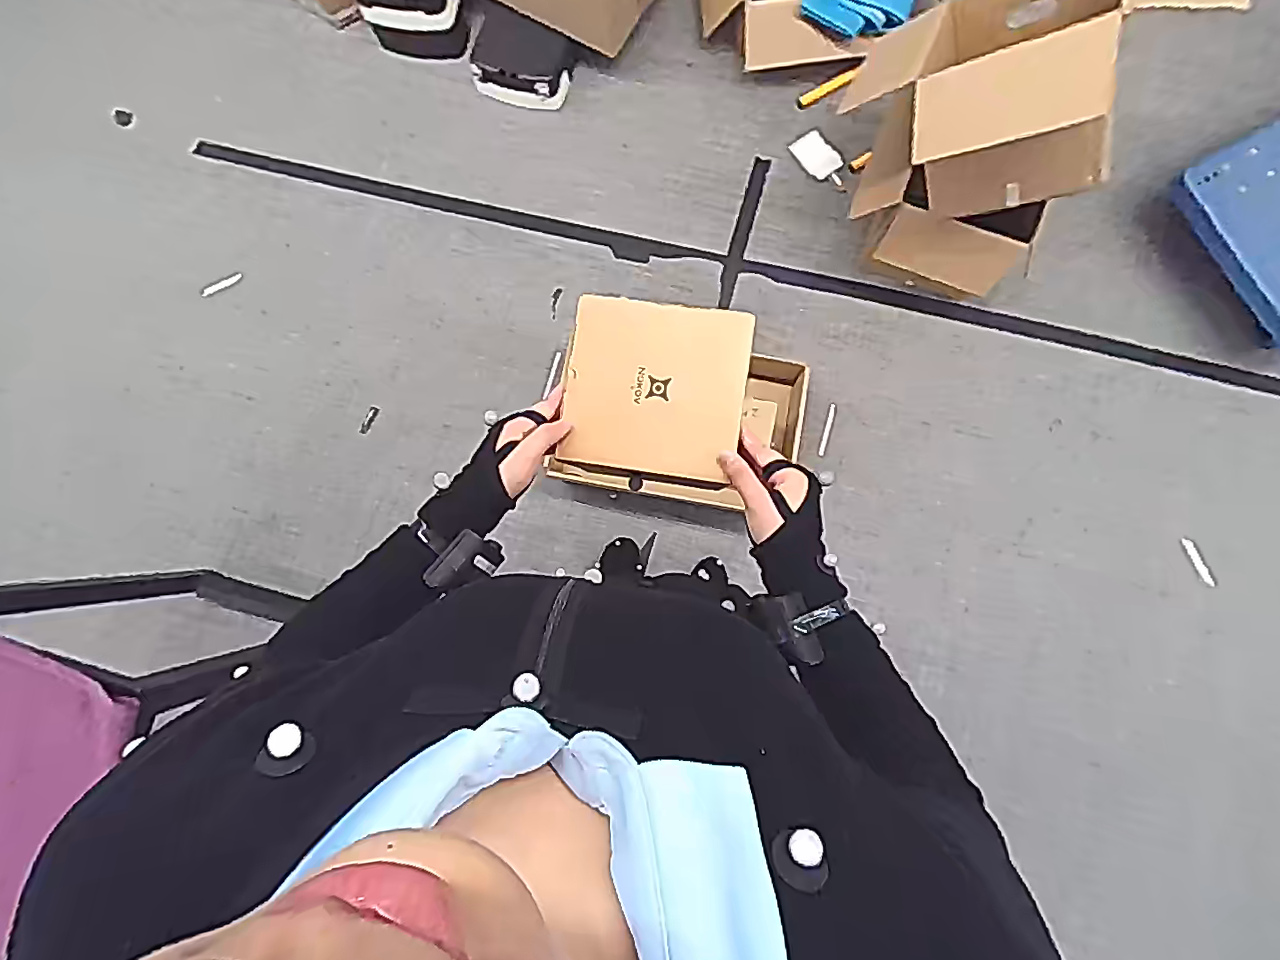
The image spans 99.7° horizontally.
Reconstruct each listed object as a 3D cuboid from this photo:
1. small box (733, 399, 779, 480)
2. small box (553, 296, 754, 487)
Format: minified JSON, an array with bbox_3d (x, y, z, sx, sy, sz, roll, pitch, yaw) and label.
[{"bbox_3d":[0.248,-0.105,1.397,0.168,0.176,0.179,12,84,4],"label":"small box"},{"bbox_3d":[0.020,-0.084,0.596,0.179,0.176,0.168,8,88,7],"label":"small box"}]
